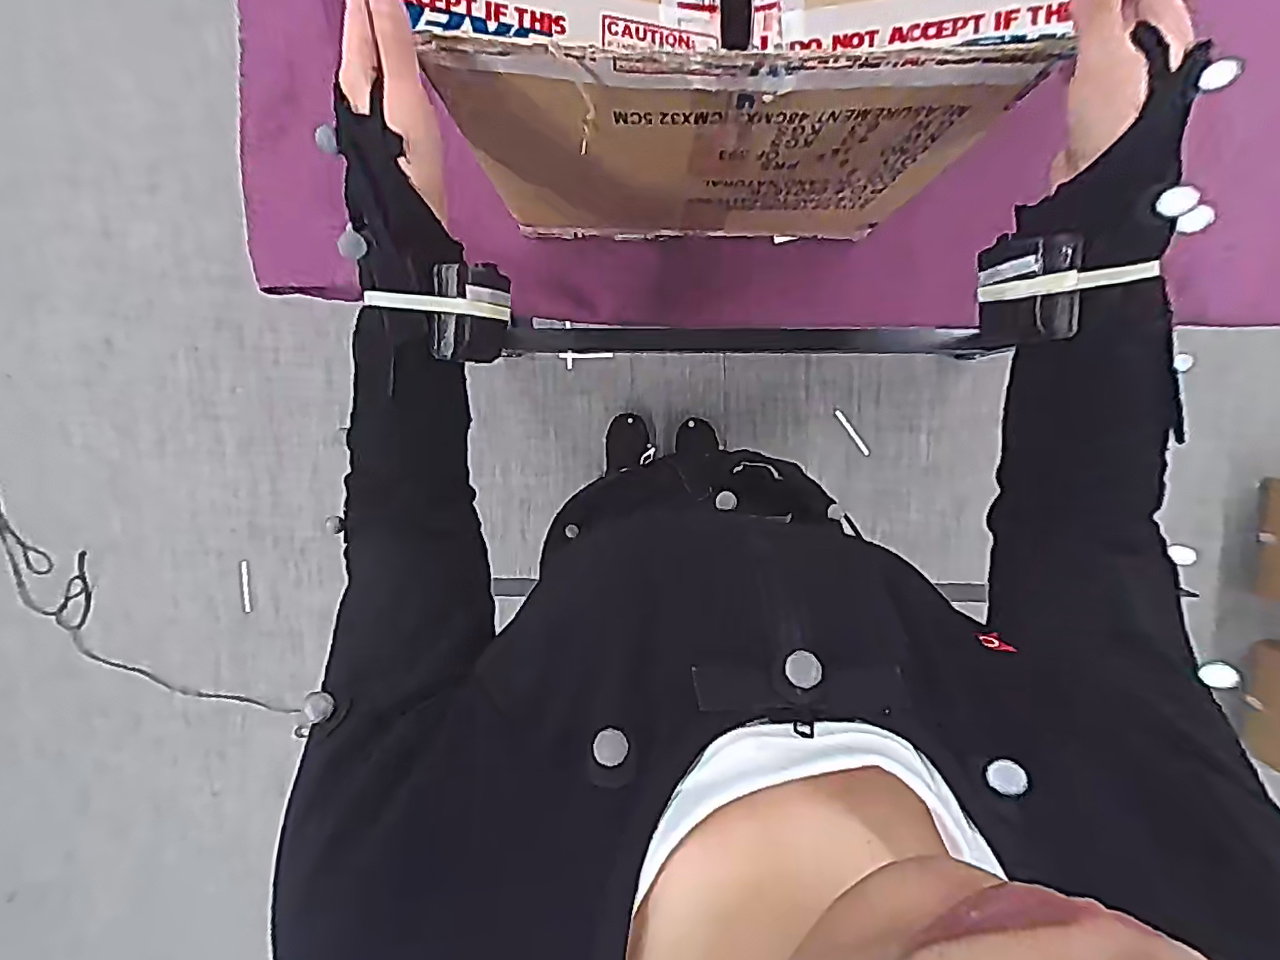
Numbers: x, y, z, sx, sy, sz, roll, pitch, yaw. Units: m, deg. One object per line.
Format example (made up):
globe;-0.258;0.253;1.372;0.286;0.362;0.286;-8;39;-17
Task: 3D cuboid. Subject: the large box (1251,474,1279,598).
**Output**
large box;1.768;0.149;1.225;0.408;0.320;0.320;-1;96;2
